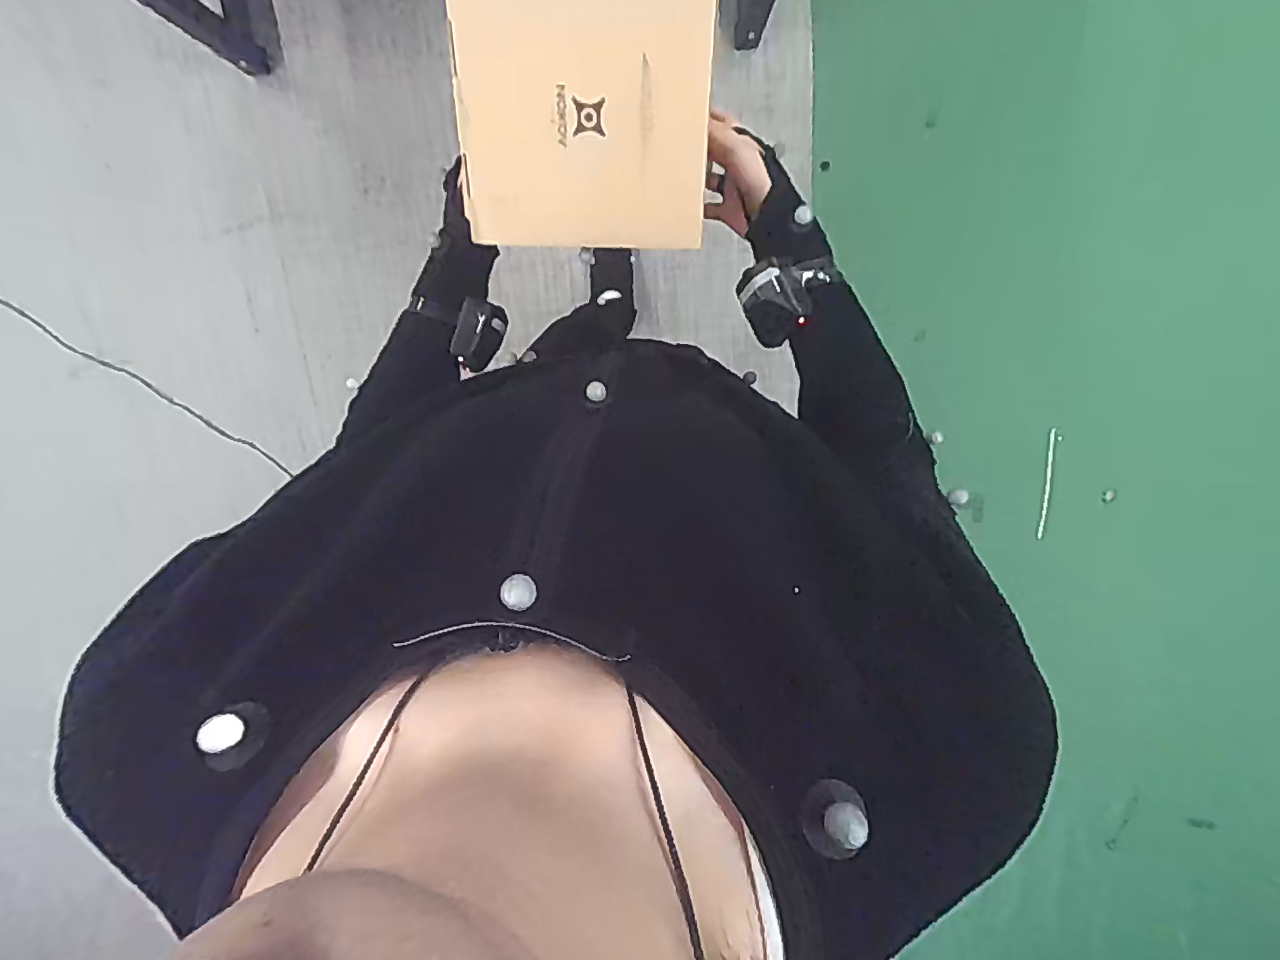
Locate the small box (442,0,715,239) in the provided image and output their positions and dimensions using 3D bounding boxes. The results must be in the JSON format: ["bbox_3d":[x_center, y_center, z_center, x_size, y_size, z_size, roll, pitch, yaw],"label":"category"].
[{"bbox_3d":[-0.040,-0.290,0.437,0.179,0.176,0.168,2,117,0],"label":"small box"}]
